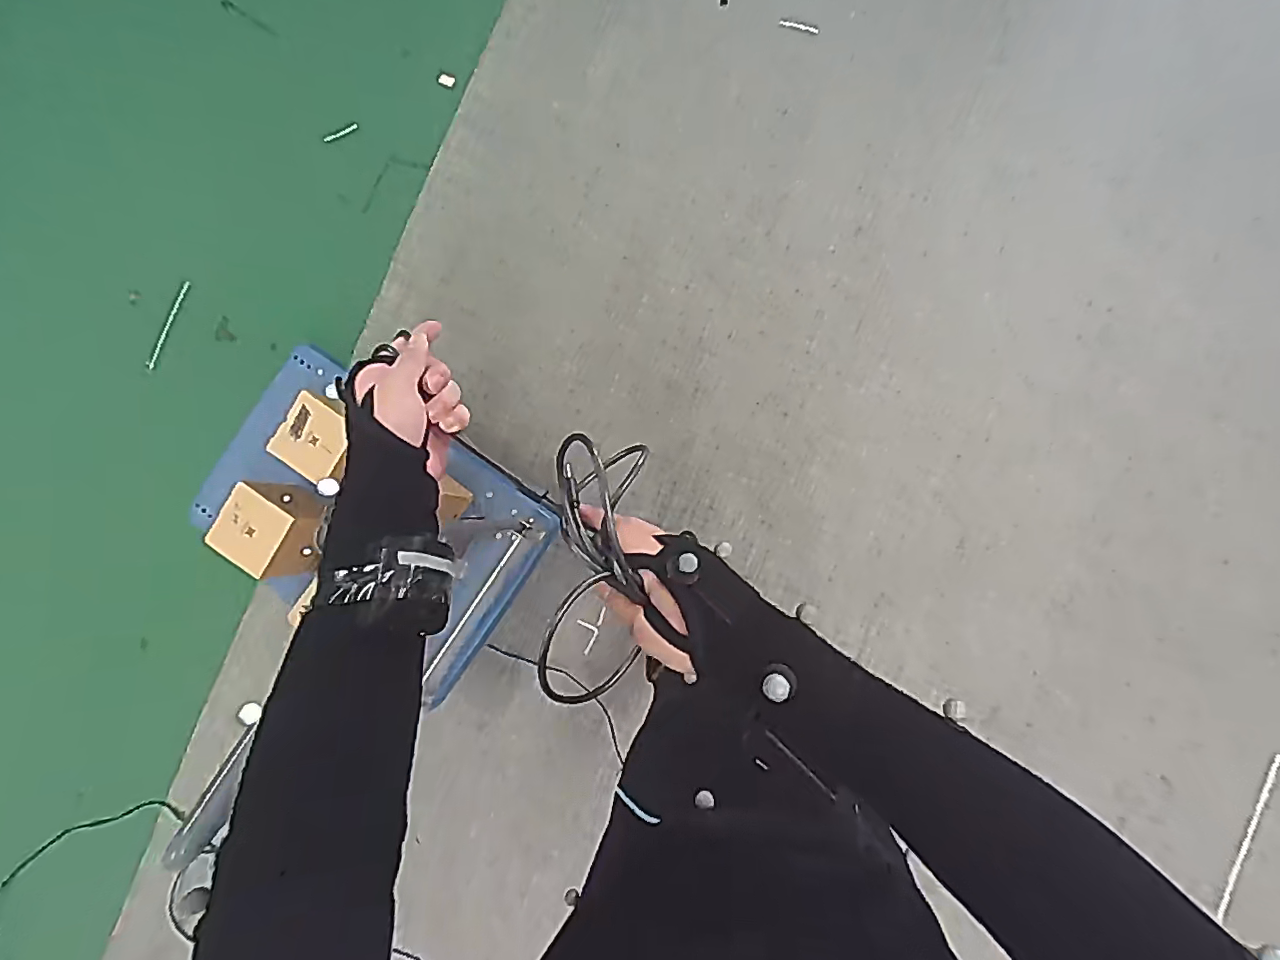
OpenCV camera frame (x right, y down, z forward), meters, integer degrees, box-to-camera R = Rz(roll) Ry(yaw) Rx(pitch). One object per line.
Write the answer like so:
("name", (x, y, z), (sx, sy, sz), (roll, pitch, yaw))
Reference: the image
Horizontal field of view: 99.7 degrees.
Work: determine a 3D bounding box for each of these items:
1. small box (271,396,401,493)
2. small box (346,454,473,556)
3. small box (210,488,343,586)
("small box", (-0.729, -0.076, 1.313), (0.179, 0.176, 0.168), (33, 92, 9))
("small box", (-0.535, 0.062, 1.275), (0.179, 0.176, 0.168), (36, 92, 9))
("small box", (-0.875, 0.135, 1.320), (0.179, 0.176, 0.168), (31, 90, 10))
